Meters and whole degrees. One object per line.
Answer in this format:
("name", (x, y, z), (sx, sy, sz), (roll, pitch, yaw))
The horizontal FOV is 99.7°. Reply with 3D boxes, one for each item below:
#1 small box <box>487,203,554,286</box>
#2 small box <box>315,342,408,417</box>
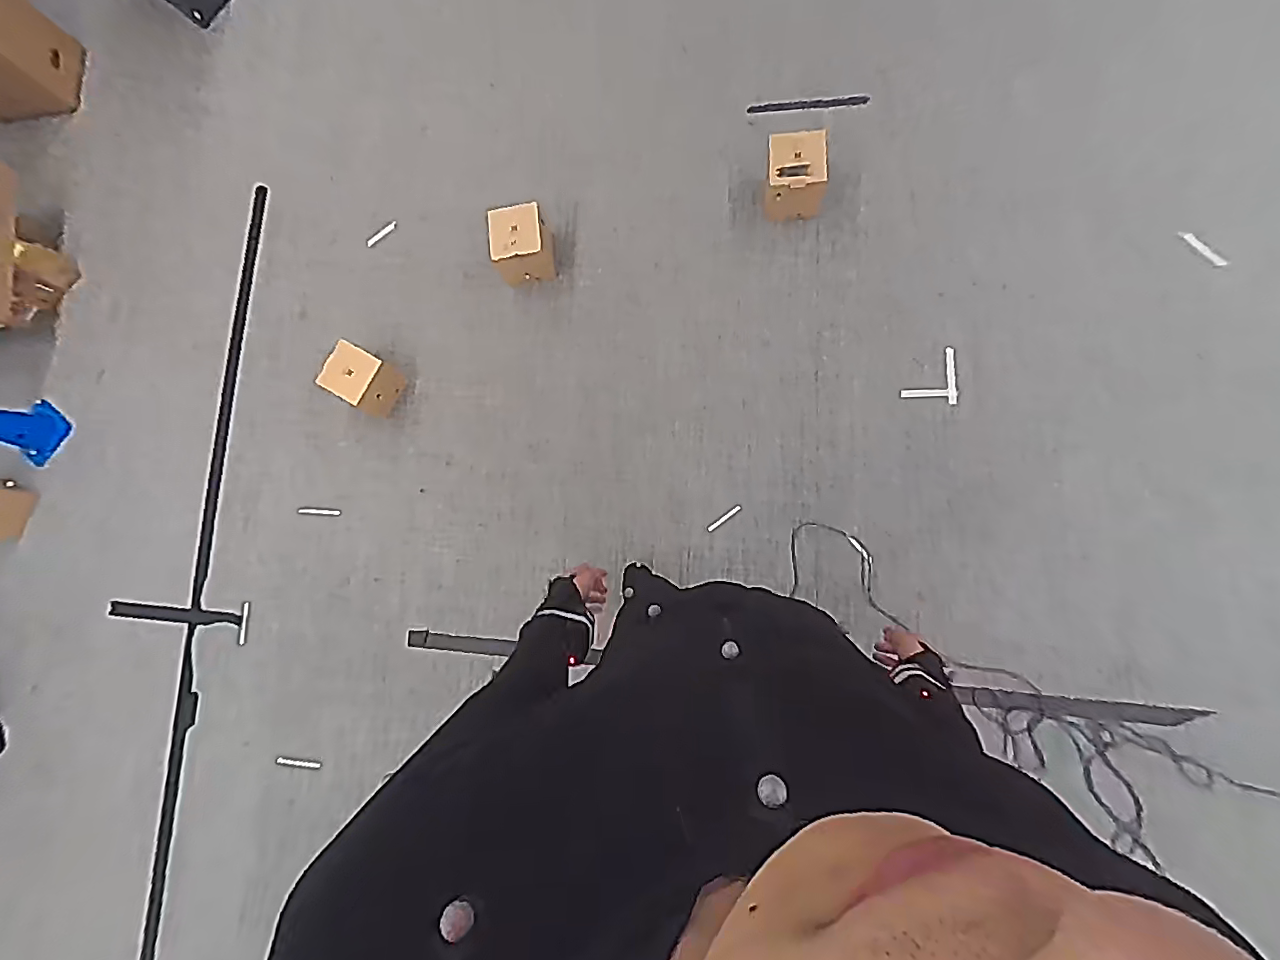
("small box", (-0.389, -0.767, 1.776), (0.168, 0.176, 0.179), (-8, 81, 6))
("small box", (-0.910, -0.324, 1.786), (0.179, 0.176, 0.168), (28, 87, 11))
